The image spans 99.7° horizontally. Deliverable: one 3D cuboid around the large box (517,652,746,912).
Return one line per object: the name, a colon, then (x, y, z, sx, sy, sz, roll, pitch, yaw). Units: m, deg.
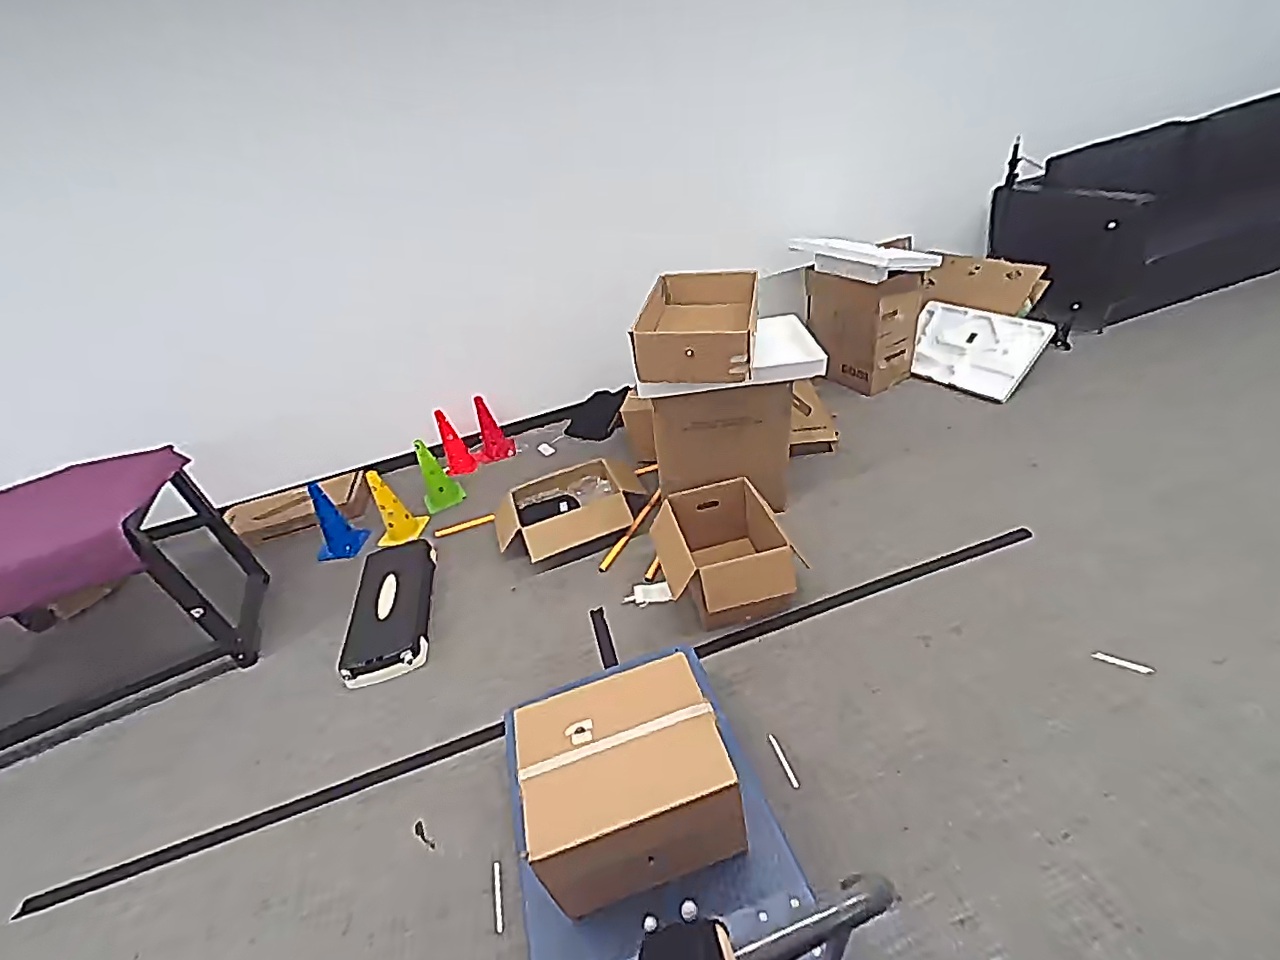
large box: (-0.019, 0.658, 1.198, 0.408, 0.320, 0.320, -18, 34, -7)
